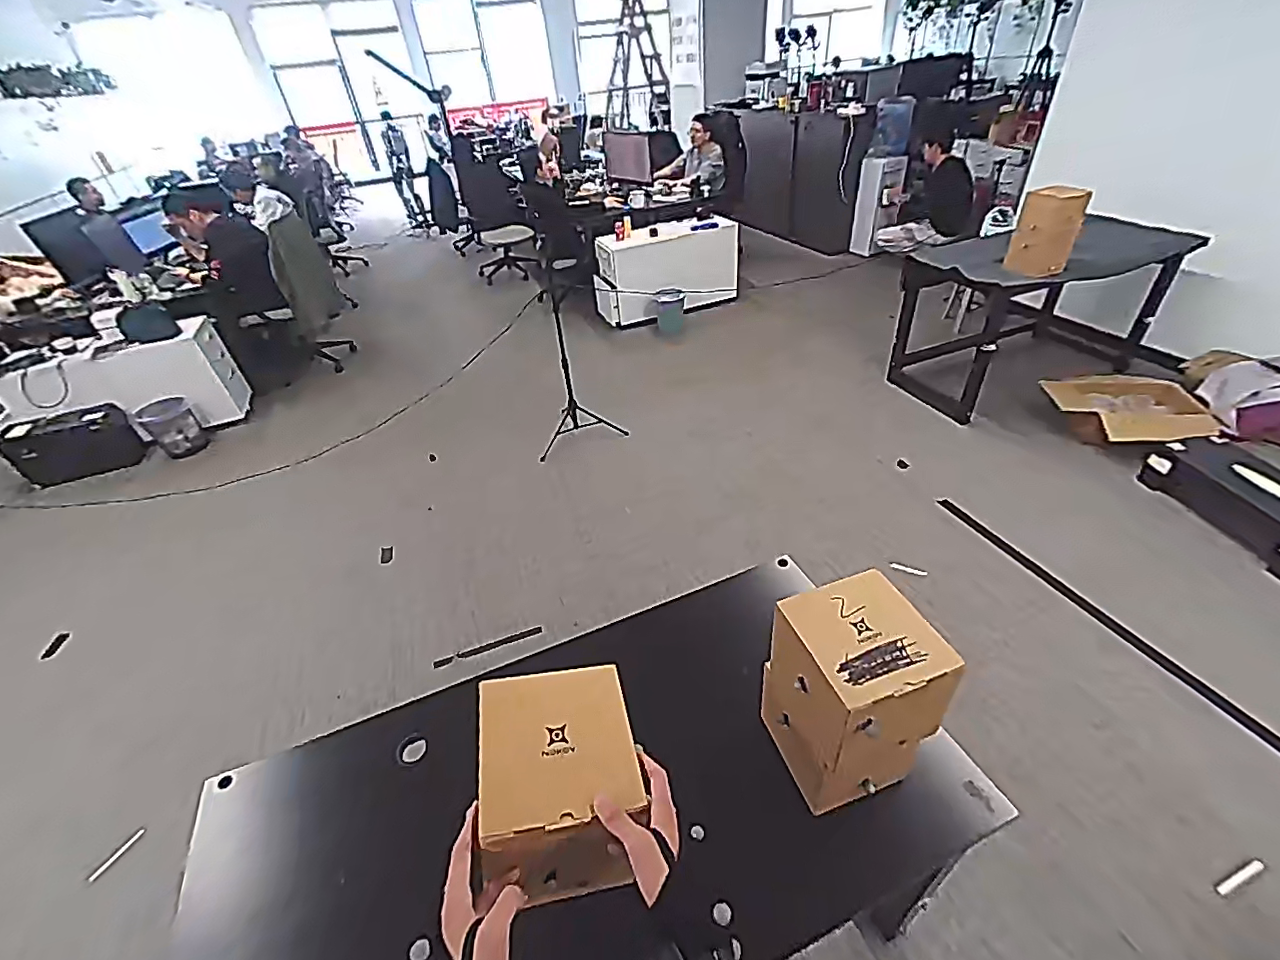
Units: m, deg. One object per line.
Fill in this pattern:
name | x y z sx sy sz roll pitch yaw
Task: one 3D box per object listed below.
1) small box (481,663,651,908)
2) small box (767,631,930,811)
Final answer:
small box | -0.095 0.342 0.622 0.168 0.176 0.179 -2 34 -15
small box | 0.312 0.377 0.853 0.168 0.176 0.179 -16 39 -10
